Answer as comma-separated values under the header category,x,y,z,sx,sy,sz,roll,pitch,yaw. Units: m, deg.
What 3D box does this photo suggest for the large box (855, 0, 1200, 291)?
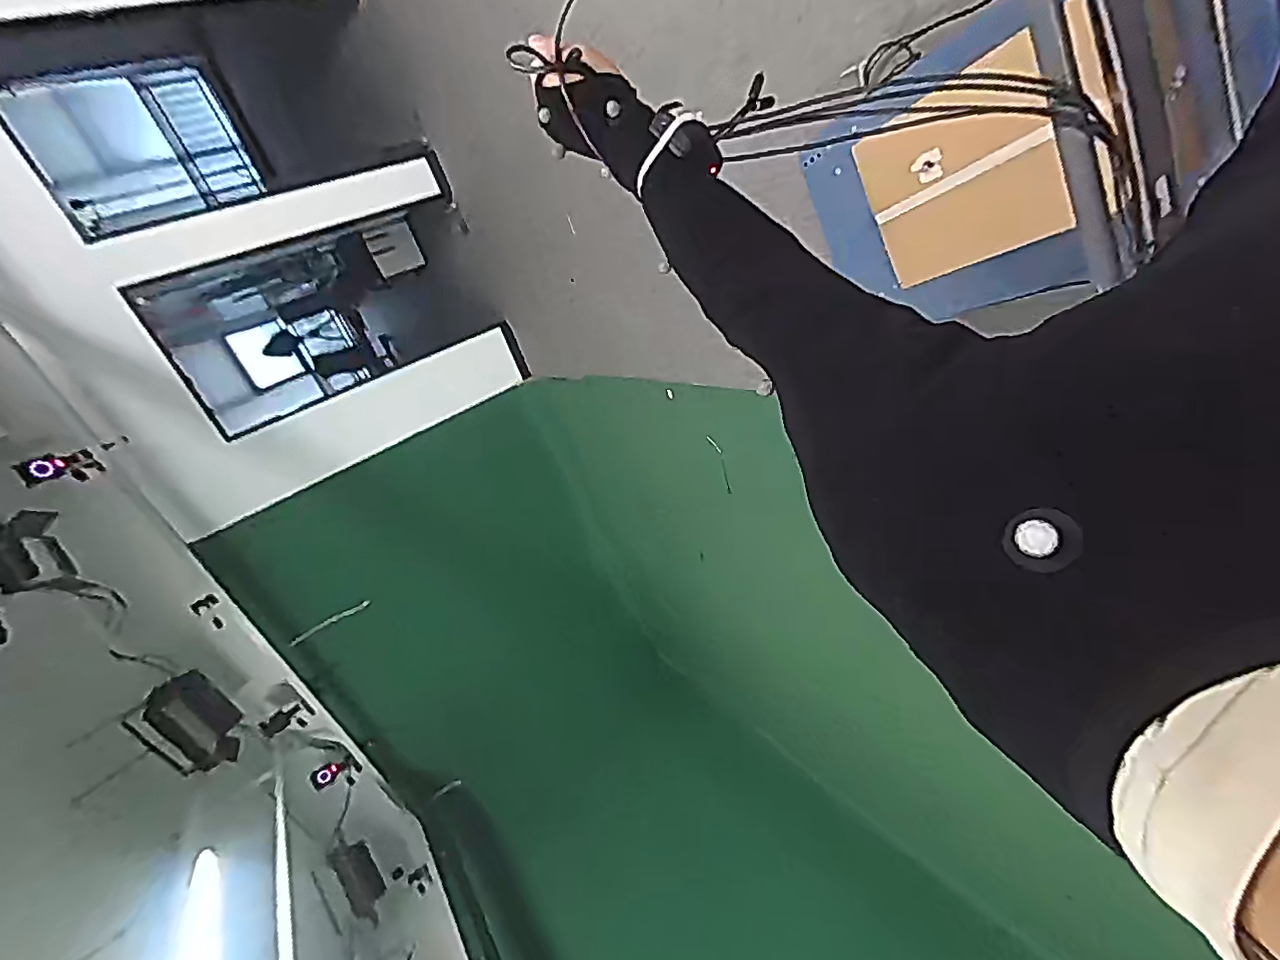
category,x,y,z,sx,sy,sz,roll,pitch,yaw
large box,0.714,-0.621,1.030,0.408,0.320,0.320,-2,117,62
